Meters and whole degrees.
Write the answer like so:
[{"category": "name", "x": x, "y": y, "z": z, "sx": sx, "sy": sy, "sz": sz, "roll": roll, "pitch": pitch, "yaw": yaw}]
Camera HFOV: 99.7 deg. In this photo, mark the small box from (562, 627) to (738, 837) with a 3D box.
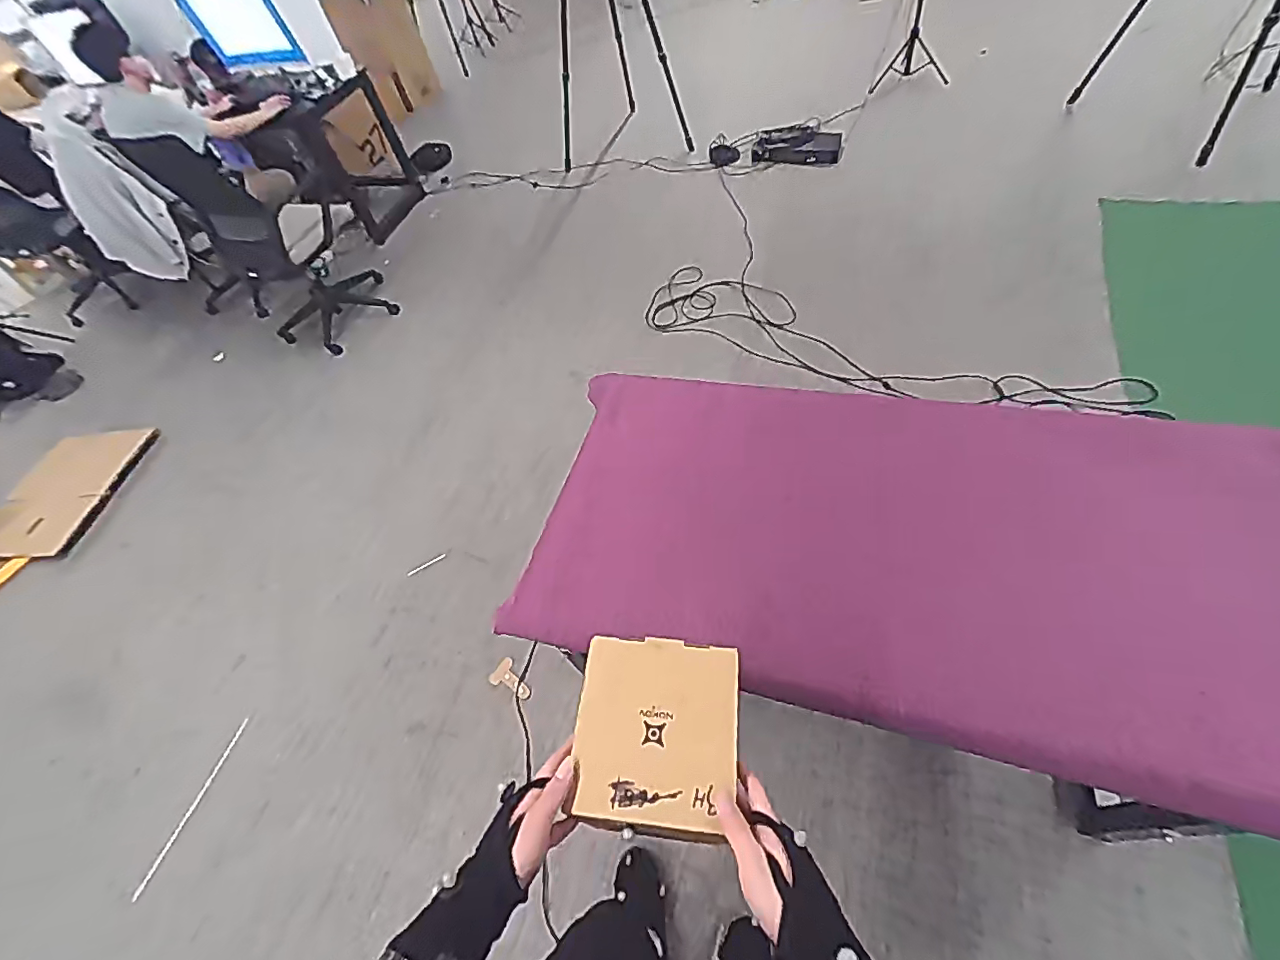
[{"category": "small box", "x": 0.021, "y": 0.290, "z": 0.619, "sx": 0.168, "sy": 0.176, "sz": 0.179, "roll": 3, "pitch": 54, "yaw": 8}]
